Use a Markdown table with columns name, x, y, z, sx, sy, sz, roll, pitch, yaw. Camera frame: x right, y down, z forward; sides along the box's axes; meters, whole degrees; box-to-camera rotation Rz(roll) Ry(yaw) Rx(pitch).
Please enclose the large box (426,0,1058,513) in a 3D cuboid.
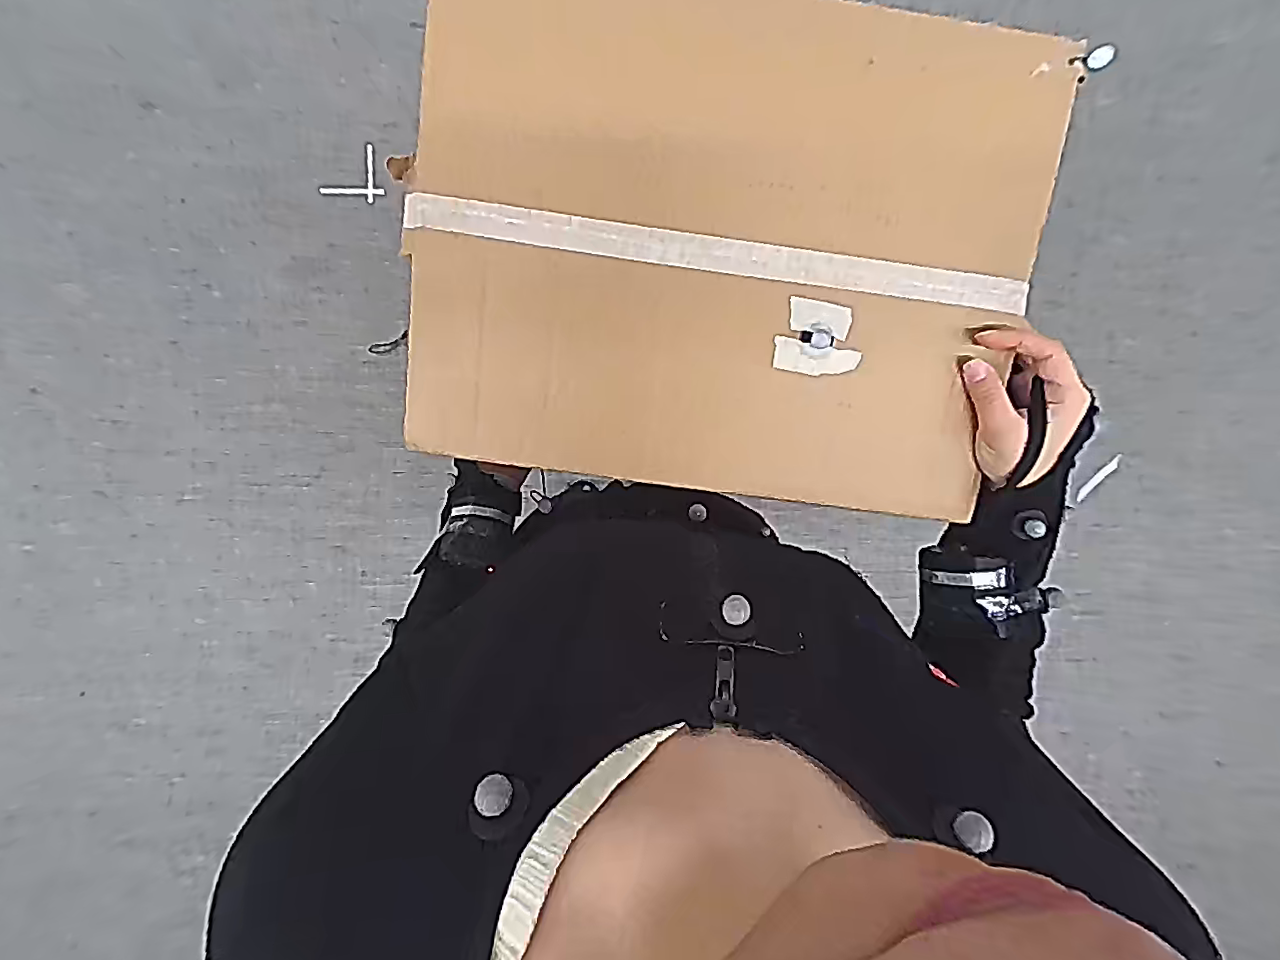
| name | x | y | z | sx | sy | sz | roll | pitch | yaw |
| --- | --- | --- | --- | --- | --- | --- | --- | --- | --- |
| large box | 0.054 | -0.169 | 0.512 | 0.408 | 0.320 | 0.320 | 7 | 100 | -4 |
